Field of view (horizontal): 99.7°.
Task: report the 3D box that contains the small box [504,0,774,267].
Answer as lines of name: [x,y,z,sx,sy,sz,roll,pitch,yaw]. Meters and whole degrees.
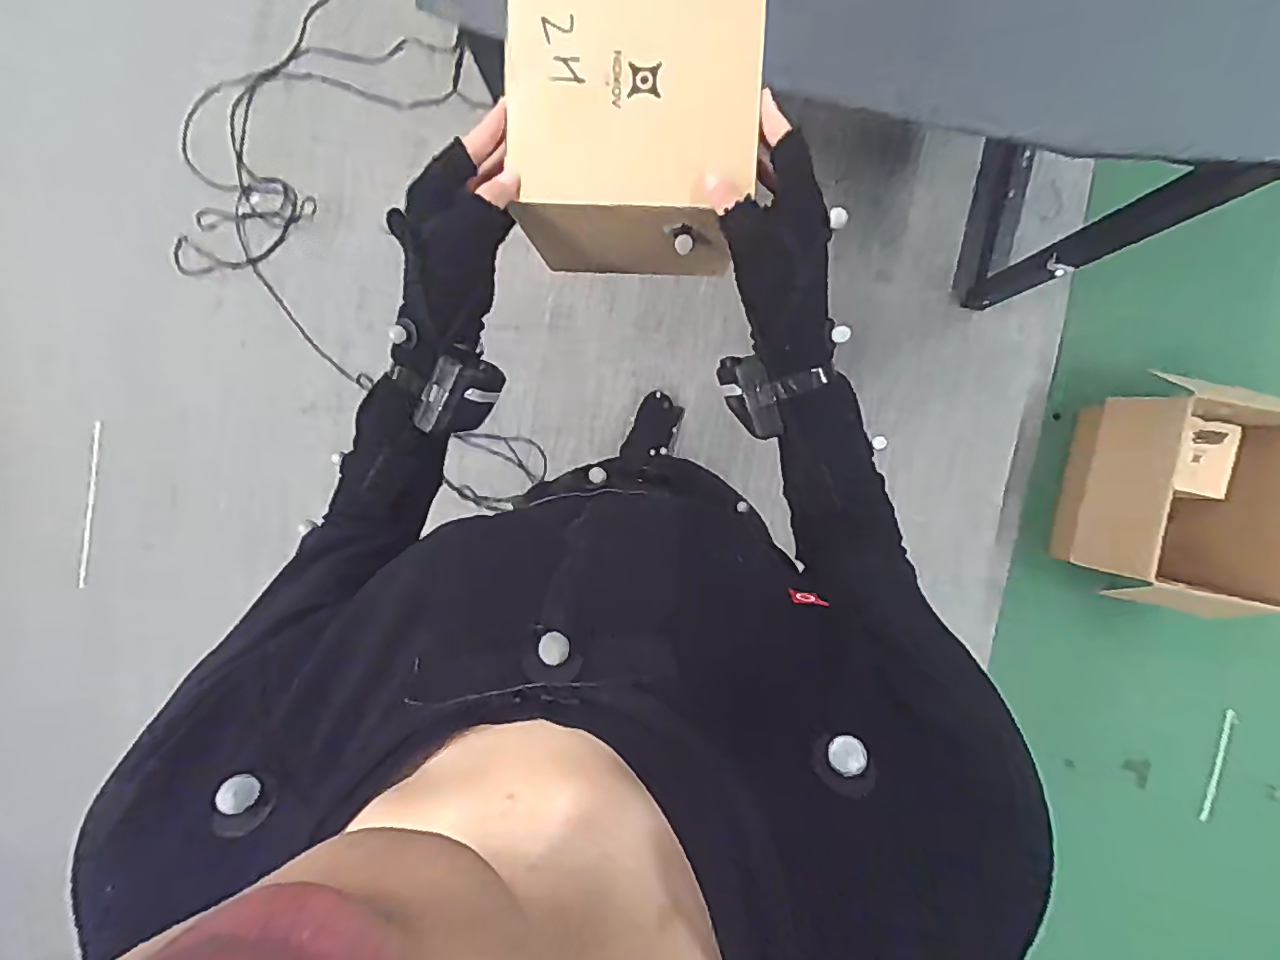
small box: [0.001,-0.282,0.437,0.179,0.176,0.168,3,95,3]
